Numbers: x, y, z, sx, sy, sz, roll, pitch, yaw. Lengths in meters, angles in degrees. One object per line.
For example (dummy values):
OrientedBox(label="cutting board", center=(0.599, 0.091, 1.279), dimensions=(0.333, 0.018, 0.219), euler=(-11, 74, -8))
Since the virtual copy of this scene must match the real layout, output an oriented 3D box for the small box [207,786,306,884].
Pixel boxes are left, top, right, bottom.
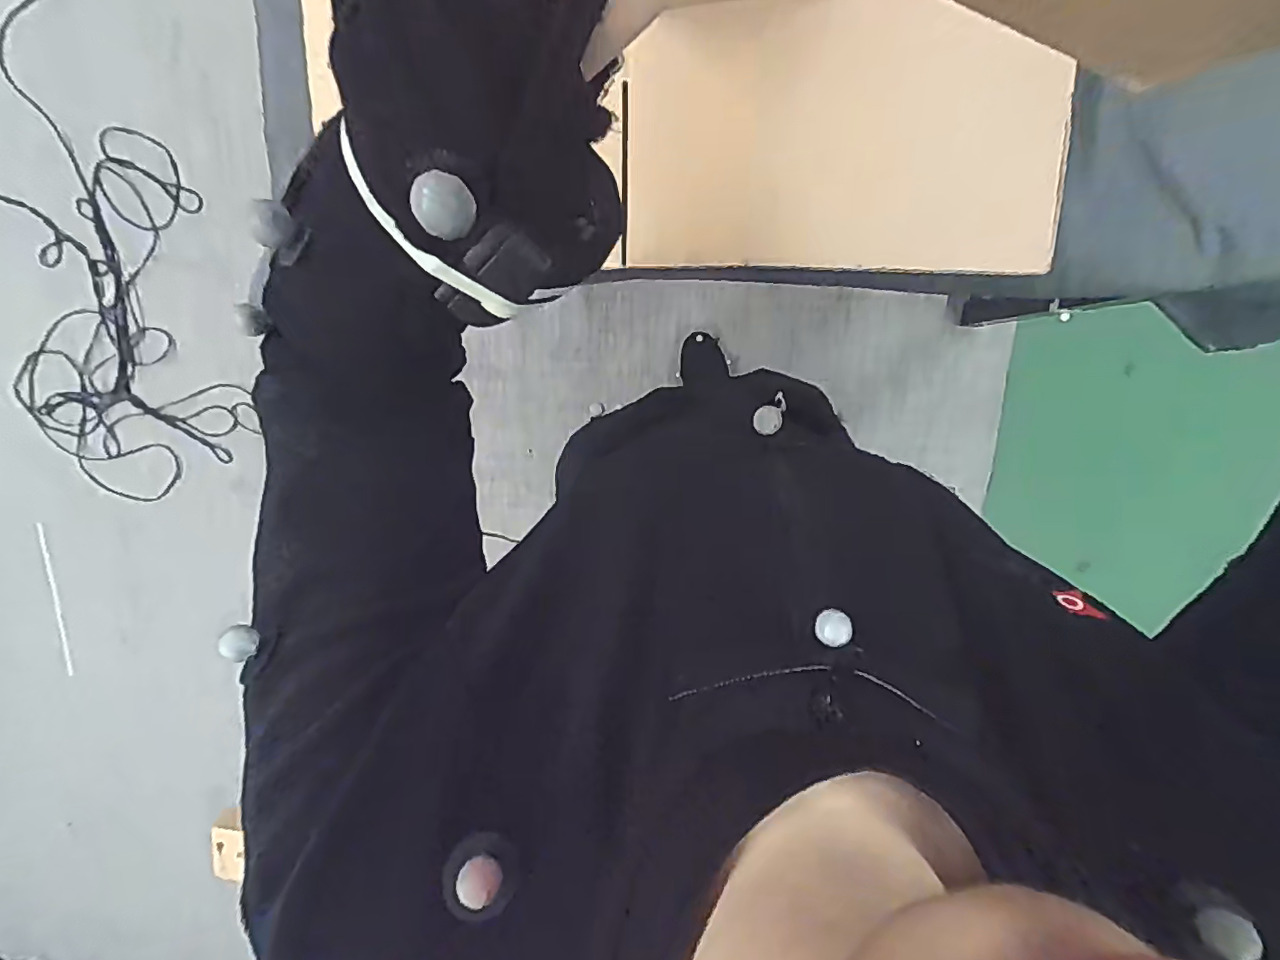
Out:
OrientedBox(label="small box", center=(-1.088, 1.011, 1.551), dimensions=(0.179, 0.176, 0.168), euler=(6, 102, 0))
